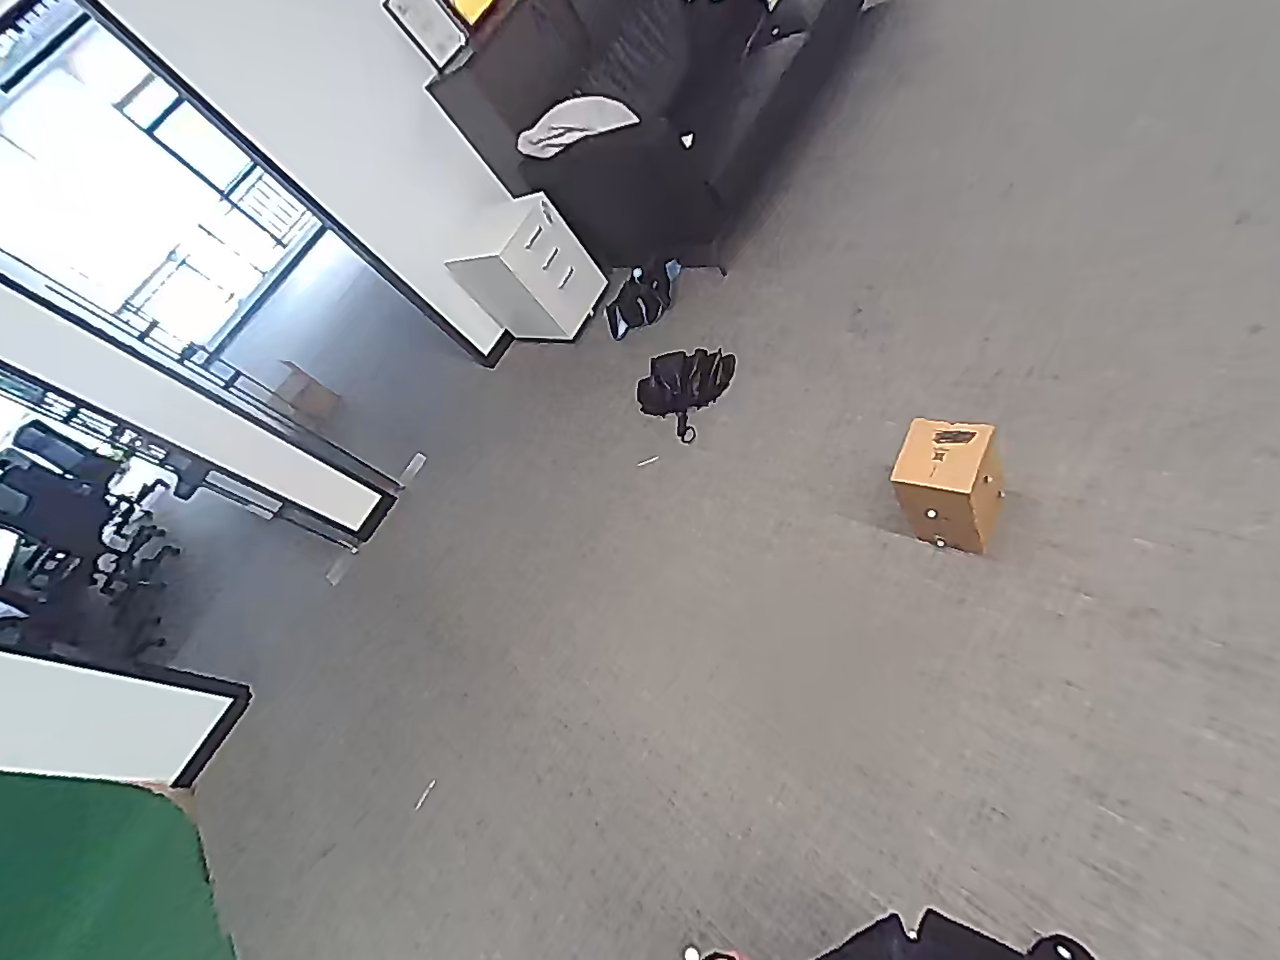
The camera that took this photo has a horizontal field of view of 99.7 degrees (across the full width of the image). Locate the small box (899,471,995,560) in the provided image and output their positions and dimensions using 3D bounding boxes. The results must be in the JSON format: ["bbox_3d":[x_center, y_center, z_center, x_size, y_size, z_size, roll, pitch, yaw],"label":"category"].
[{"bbox_3d":[0.783,0.076,1.372,0.168,0.176,0.179,15,71,42],"label":"small box"}]

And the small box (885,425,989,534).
[{"bbox_3d":[0.695,-0.001,1.256,0.168,0.176,0.179,15,70,42],"label":"small box"}]
